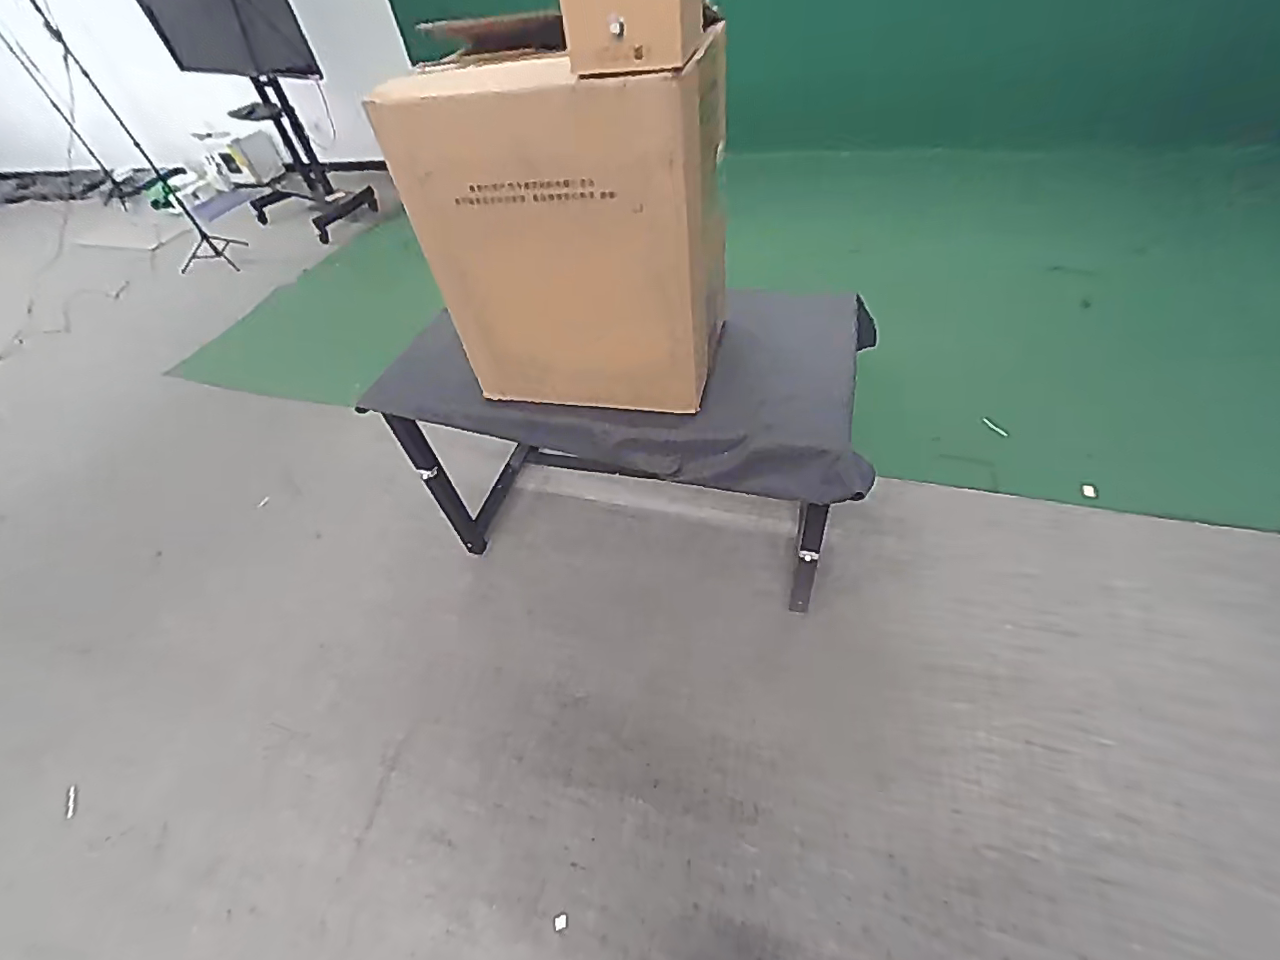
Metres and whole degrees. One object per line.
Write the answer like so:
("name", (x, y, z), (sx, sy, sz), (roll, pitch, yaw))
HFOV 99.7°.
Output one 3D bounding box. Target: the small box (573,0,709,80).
("small box", (0.004, -0.687, 0.760), (0.168, 0.176, 0.179), (7, 51, 14))
